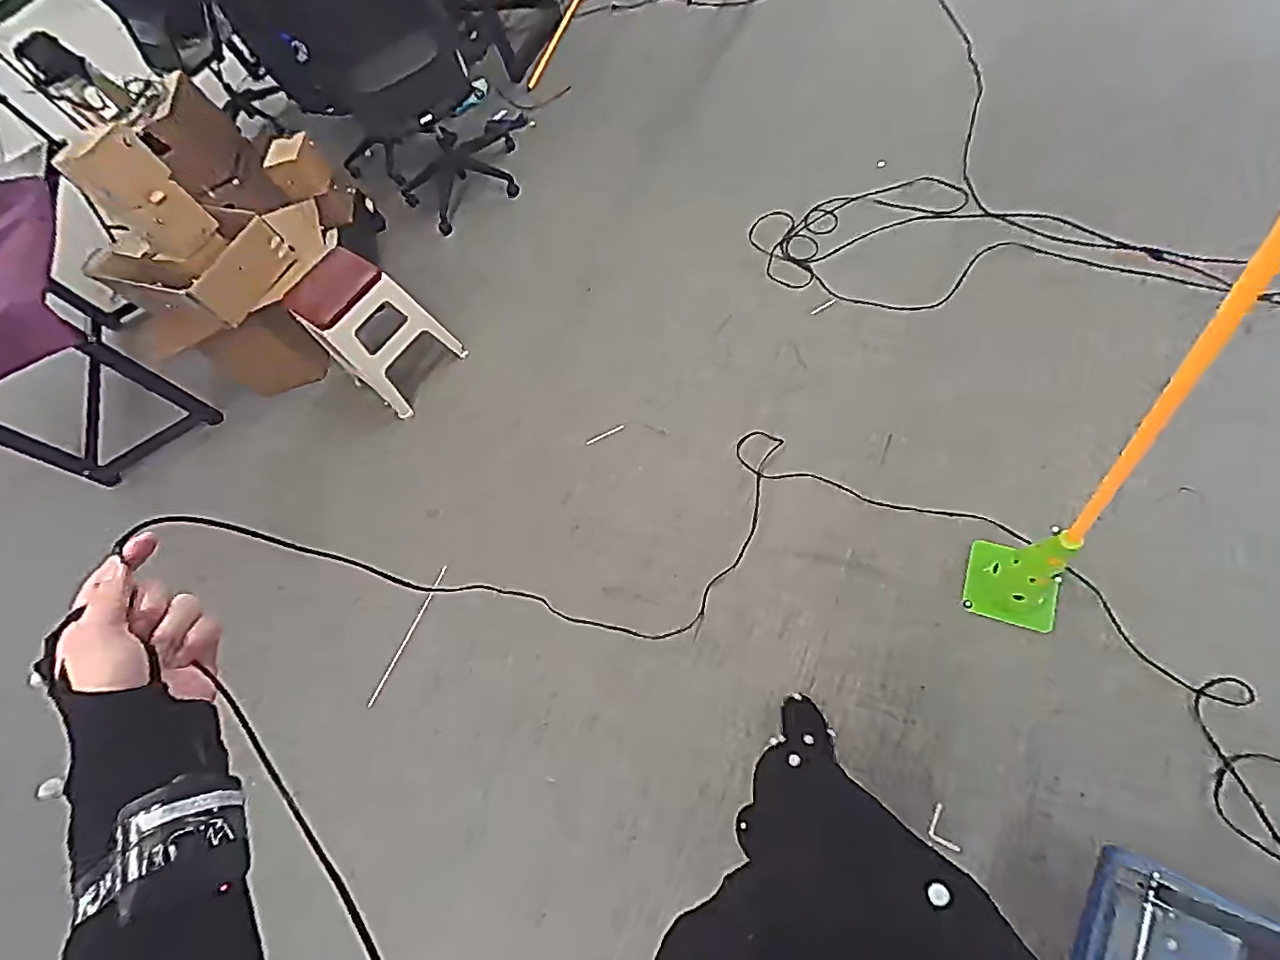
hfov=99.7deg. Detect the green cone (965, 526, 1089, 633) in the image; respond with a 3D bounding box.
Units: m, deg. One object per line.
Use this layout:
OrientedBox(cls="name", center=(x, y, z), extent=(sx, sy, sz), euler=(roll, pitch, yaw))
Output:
OrientedBox(cls="green cone", center=(0.906, 0.192, 1.217), extent=(0.200, 0.368, 0.202), euler=(15, 69, 21))
